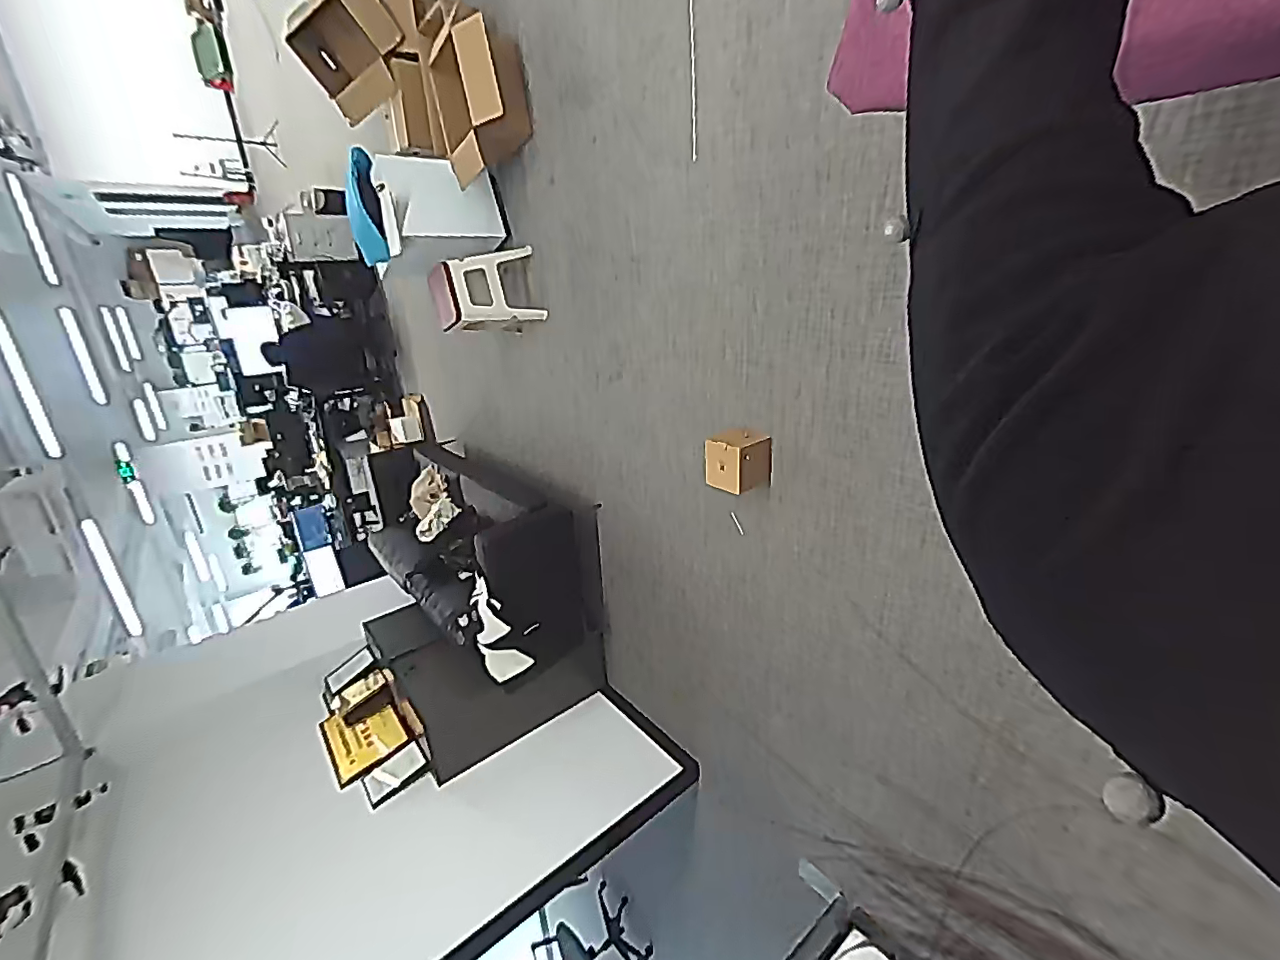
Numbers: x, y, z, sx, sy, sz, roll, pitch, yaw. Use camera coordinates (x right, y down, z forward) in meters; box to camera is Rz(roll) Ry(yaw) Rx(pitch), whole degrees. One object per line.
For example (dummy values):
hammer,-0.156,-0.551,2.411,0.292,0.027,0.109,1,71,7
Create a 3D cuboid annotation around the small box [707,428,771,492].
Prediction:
small box,0.359,-0.078,1.960,0.168,0.176,0.179,21,121,47
